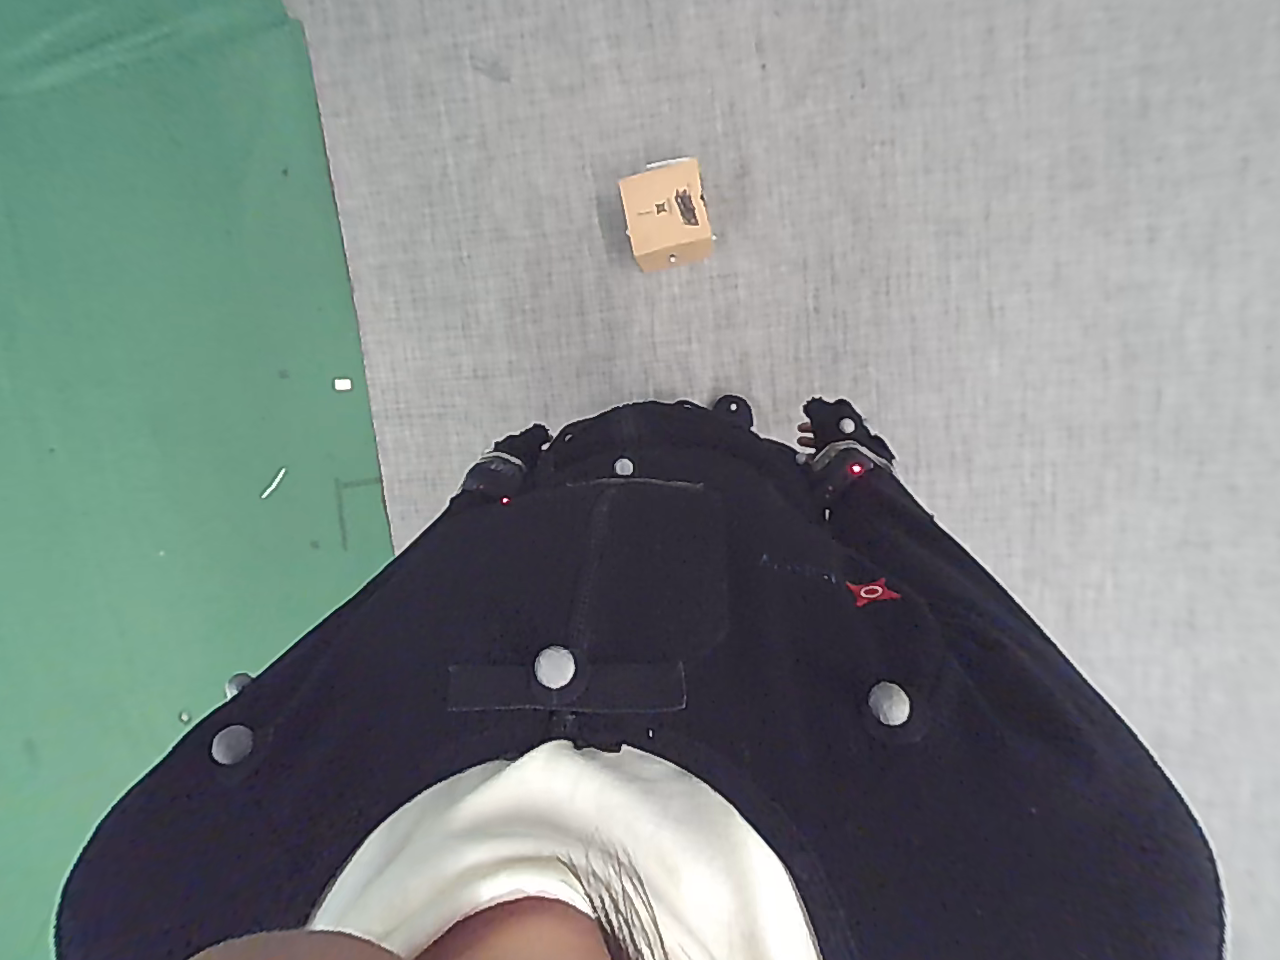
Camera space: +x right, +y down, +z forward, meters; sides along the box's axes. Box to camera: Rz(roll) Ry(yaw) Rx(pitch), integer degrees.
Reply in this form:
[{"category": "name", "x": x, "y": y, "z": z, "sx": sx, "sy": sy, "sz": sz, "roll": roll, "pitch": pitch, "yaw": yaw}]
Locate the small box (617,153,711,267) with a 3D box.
[{"category": "small box", "x": 0.059, "y": -0.614, "z": 1.251, "sx": 0.179, "sy": 0.176, "sz": 0.168, "roll": -14, "pitch": 97, "yaw": 9}]
